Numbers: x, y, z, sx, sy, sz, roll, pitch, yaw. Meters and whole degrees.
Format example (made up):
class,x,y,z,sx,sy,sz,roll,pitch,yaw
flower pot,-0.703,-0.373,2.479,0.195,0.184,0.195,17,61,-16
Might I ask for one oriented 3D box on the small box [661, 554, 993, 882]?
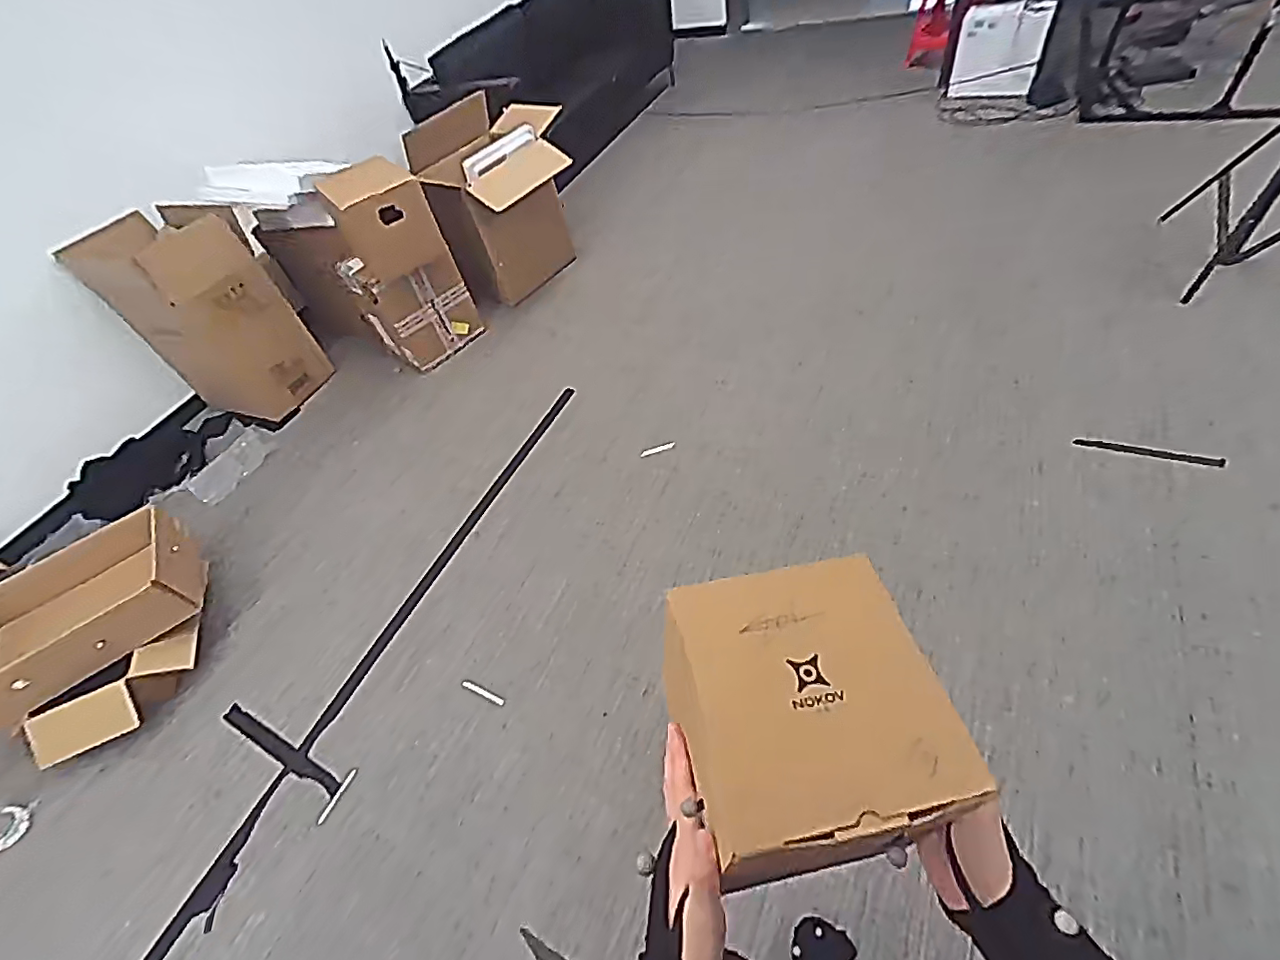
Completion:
class,x,y,z,sx,sy,sz,roll,pitch,yaw
small box,0.114,0.187,0.419,0.168,0.176,0.179,-9,47,-7
